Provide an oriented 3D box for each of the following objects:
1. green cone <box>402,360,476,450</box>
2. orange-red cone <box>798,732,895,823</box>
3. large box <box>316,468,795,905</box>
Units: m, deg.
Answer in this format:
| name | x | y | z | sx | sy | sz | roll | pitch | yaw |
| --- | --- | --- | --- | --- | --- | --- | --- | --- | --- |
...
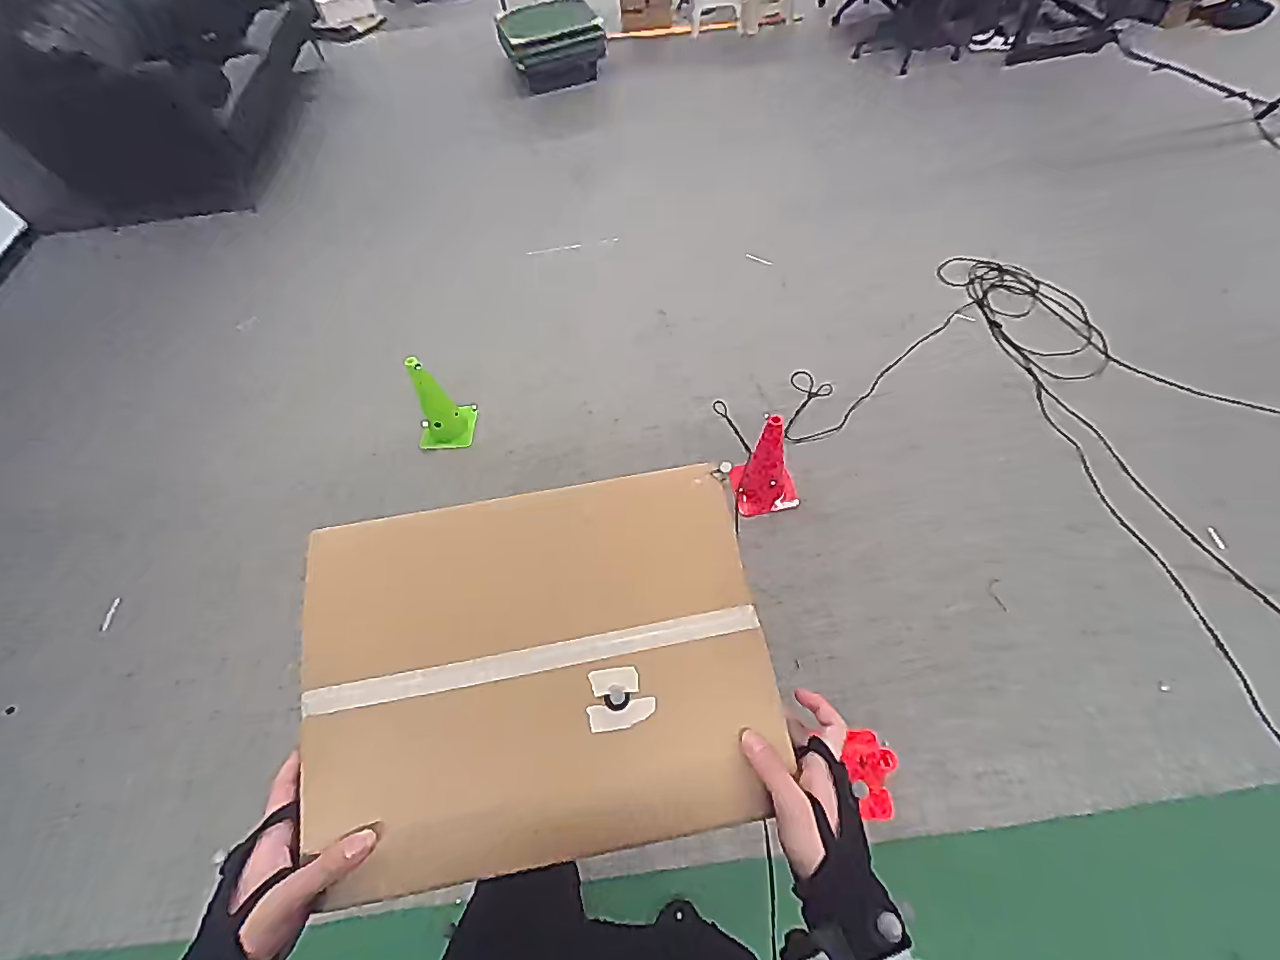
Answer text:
| name | x | y | z | sx | sy | sz | roll | pitch | yaw |
| --- | --- | --- | --- | --- | --- | --- | --- | --- | --- |
| green cone | -0.753 | -0.292 | 1.933 | 0.200 | 0.368 | 0.202 | -3 | 58 | 4 |
| orange-red cone | 0.493 | 0.651 | 1.208 | 0.199 | 0.360 | 0.198 | -1 | 58 | 3 |
| large box | -0.091 | 0.216 | 0.631 | 0.408 | 0.320 | 0.320 | -10 | 70 | -4 |
